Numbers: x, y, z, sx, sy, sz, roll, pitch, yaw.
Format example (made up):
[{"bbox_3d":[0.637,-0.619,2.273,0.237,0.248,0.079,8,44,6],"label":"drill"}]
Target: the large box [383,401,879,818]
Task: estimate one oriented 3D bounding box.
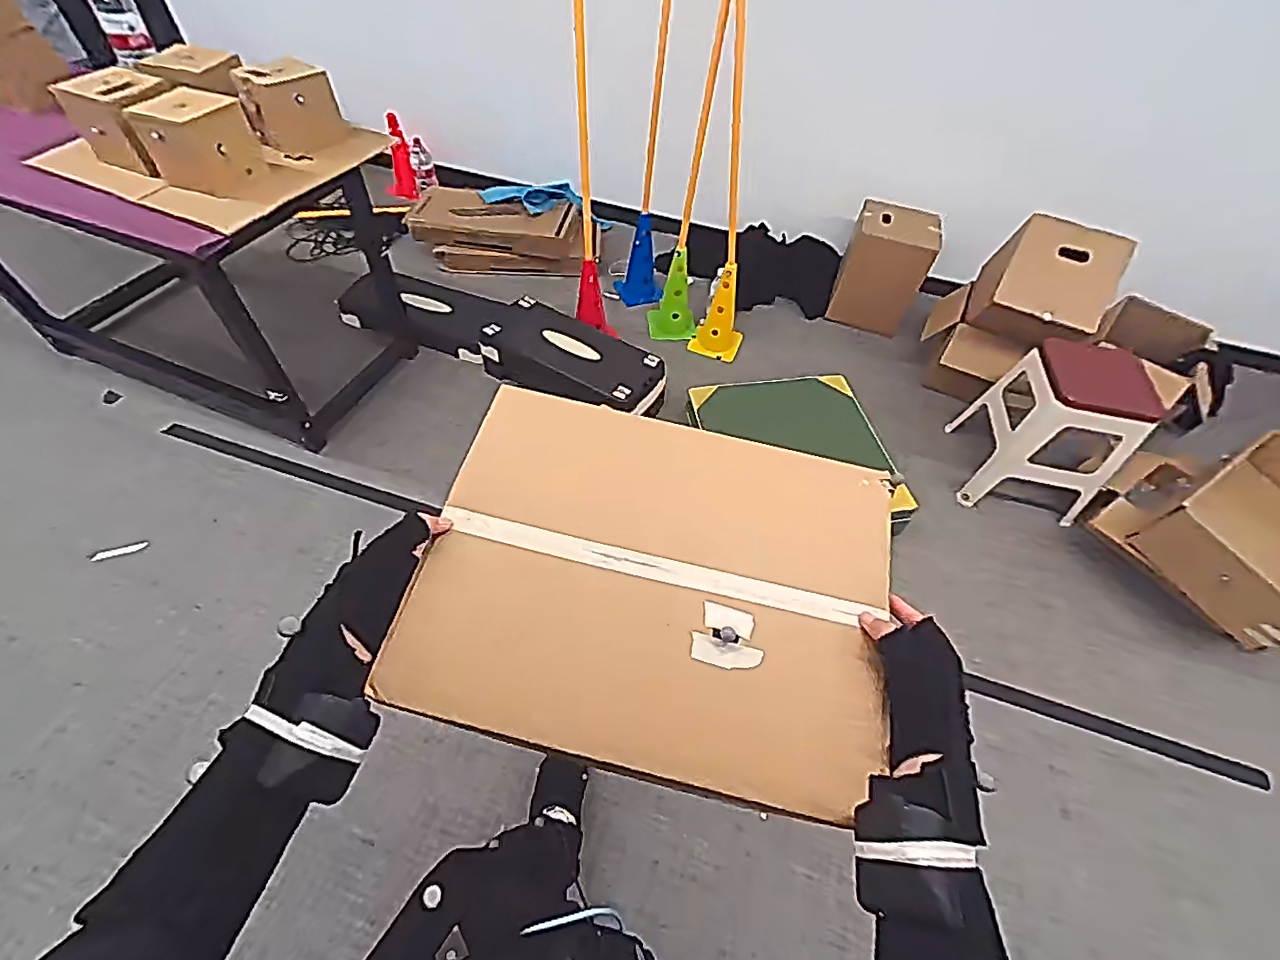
[{"bbox_3d":[0.006,0.157,0.619,0.408,0.320,0.320,13,62,2],"label":"large box"}]
